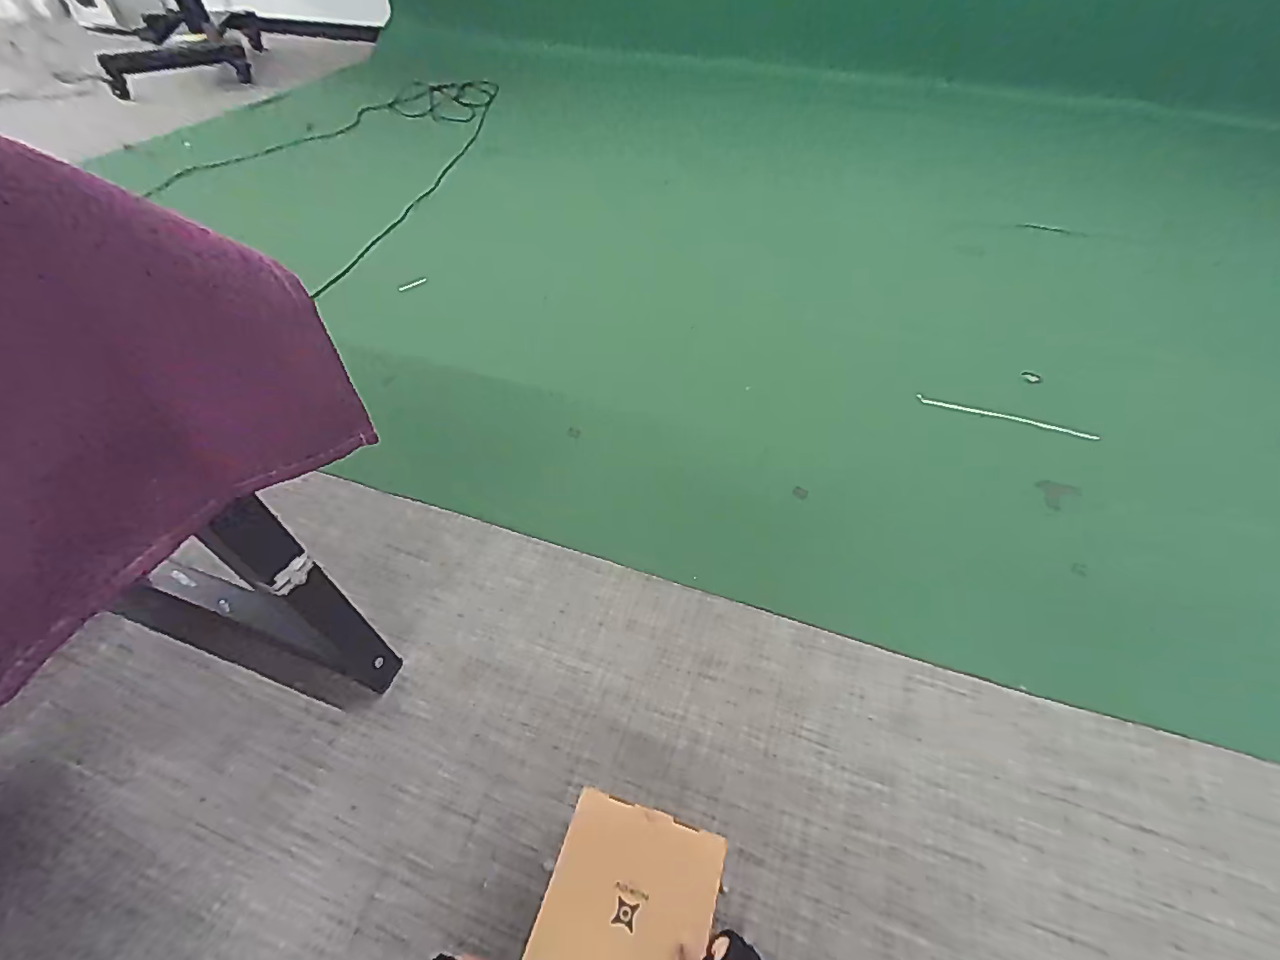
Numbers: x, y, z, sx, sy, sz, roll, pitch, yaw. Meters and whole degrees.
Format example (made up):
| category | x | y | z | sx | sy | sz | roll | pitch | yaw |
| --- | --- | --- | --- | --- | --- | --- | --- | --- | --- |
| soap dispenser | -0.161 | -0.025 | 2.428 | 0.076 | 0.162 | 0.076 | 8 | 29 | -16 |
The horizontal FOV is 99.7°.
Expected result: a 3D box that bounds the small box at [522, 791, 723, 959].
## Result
| category | x | y | z | sx | sy | sz | roll | pitch | yaw |
| --- | --- | --- | --- | --- | --- | --- | --- | --- | --- |
| small box | -0.014 | 0.479 | 0.595 | 0.168 | 0.176 | 0.179 | 14 | 51 | 11 |
